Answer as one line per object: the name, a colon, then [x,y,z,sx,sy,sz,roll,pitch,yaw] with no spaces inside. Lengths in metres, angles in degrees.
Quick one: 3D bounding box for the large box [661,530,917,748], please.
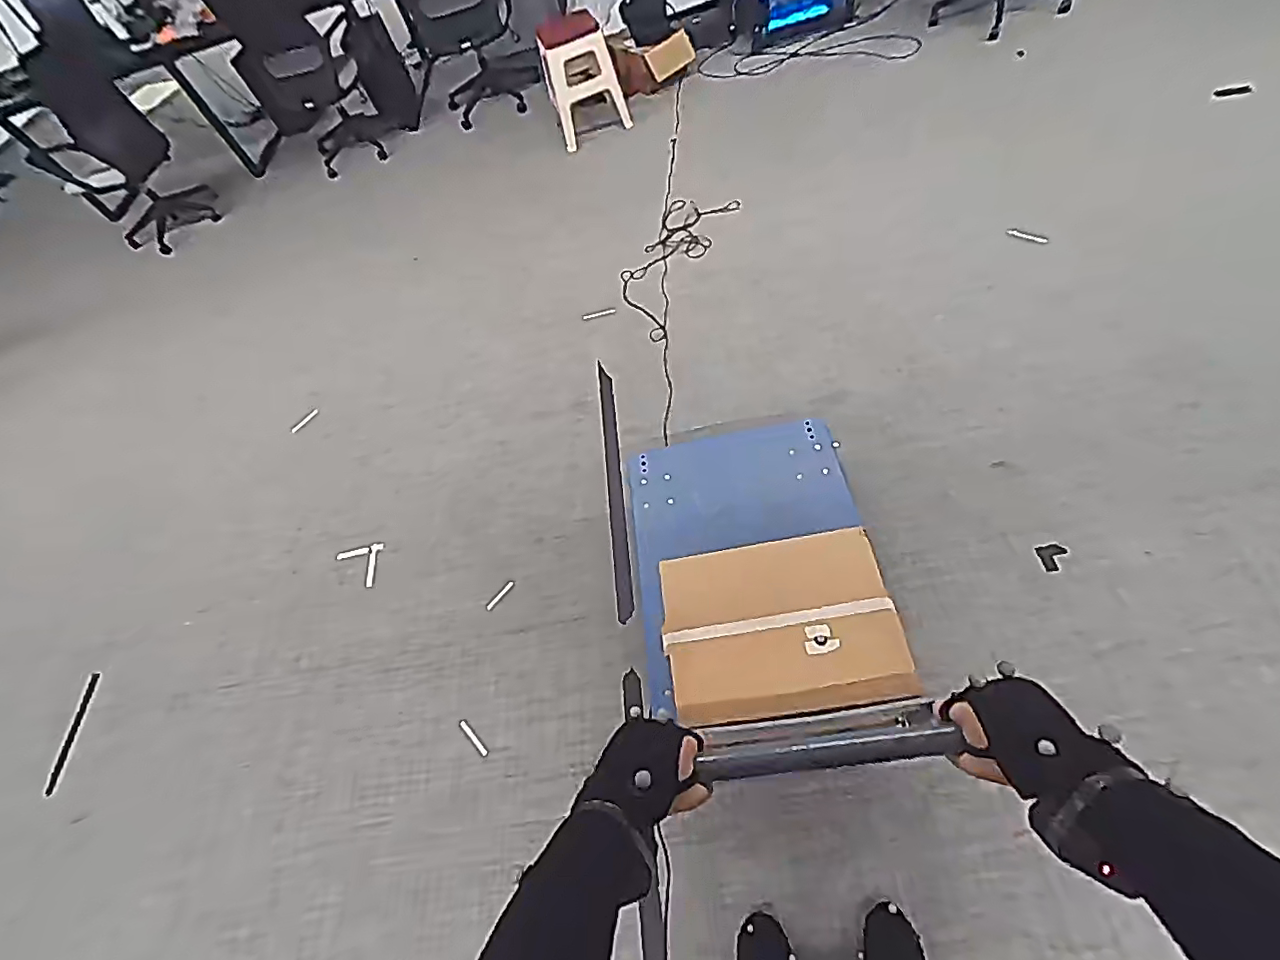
large box: [0.279,0.341,1.116,0.408,0.320,0.320,-11,58,7]
